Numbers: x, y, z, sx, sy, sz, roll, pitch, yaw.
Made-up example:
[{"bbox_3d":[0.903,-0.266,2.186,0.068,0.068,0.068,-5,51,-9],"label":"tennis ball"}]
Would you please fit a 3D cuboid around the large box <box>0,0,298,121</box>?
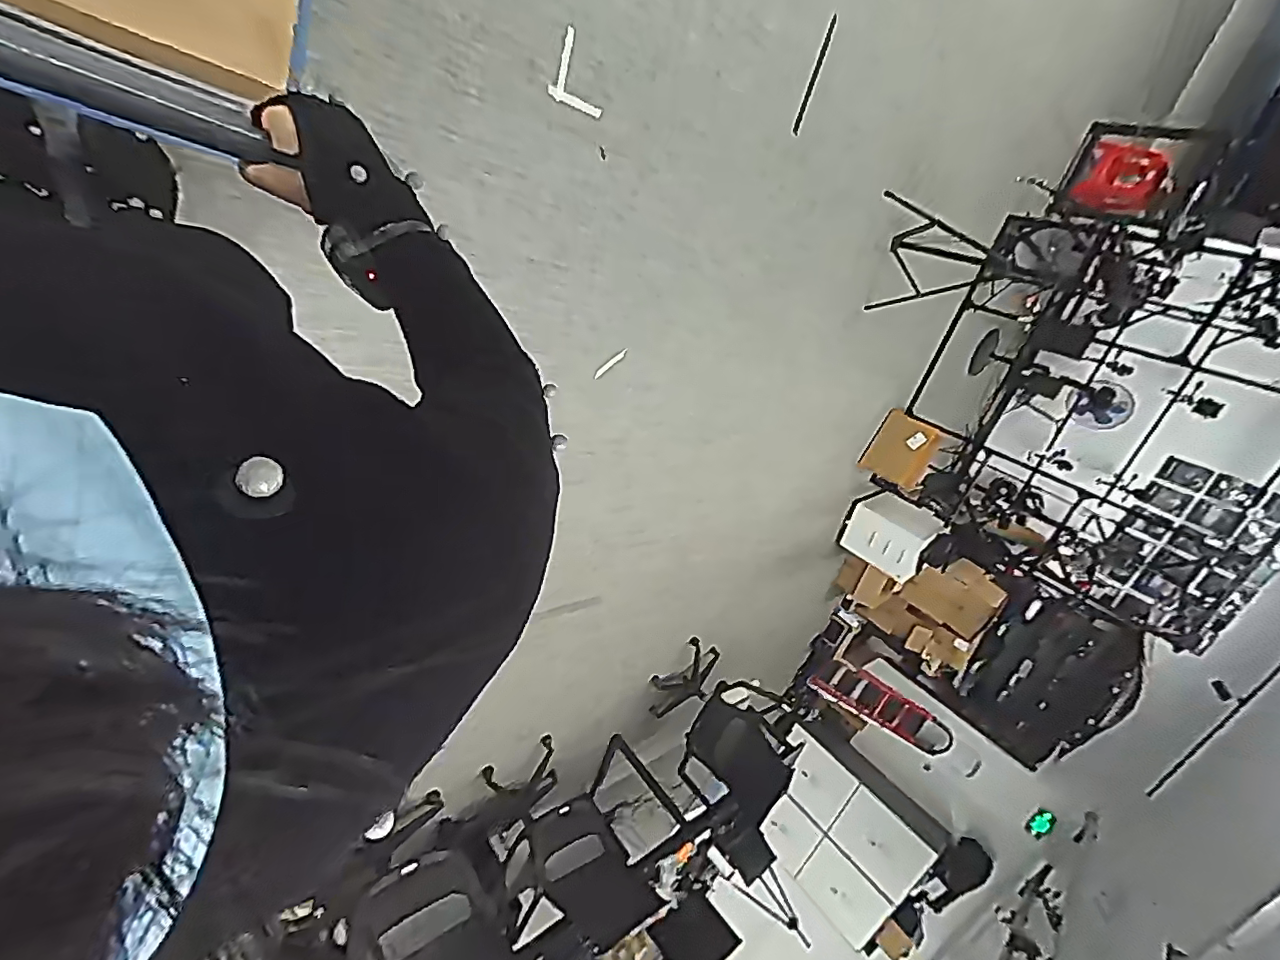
[{"bbox_3d":[-0.665,-0.678,0.626,0.408,0.320,0.320,-1,119,-47],"label":"large box"}]
